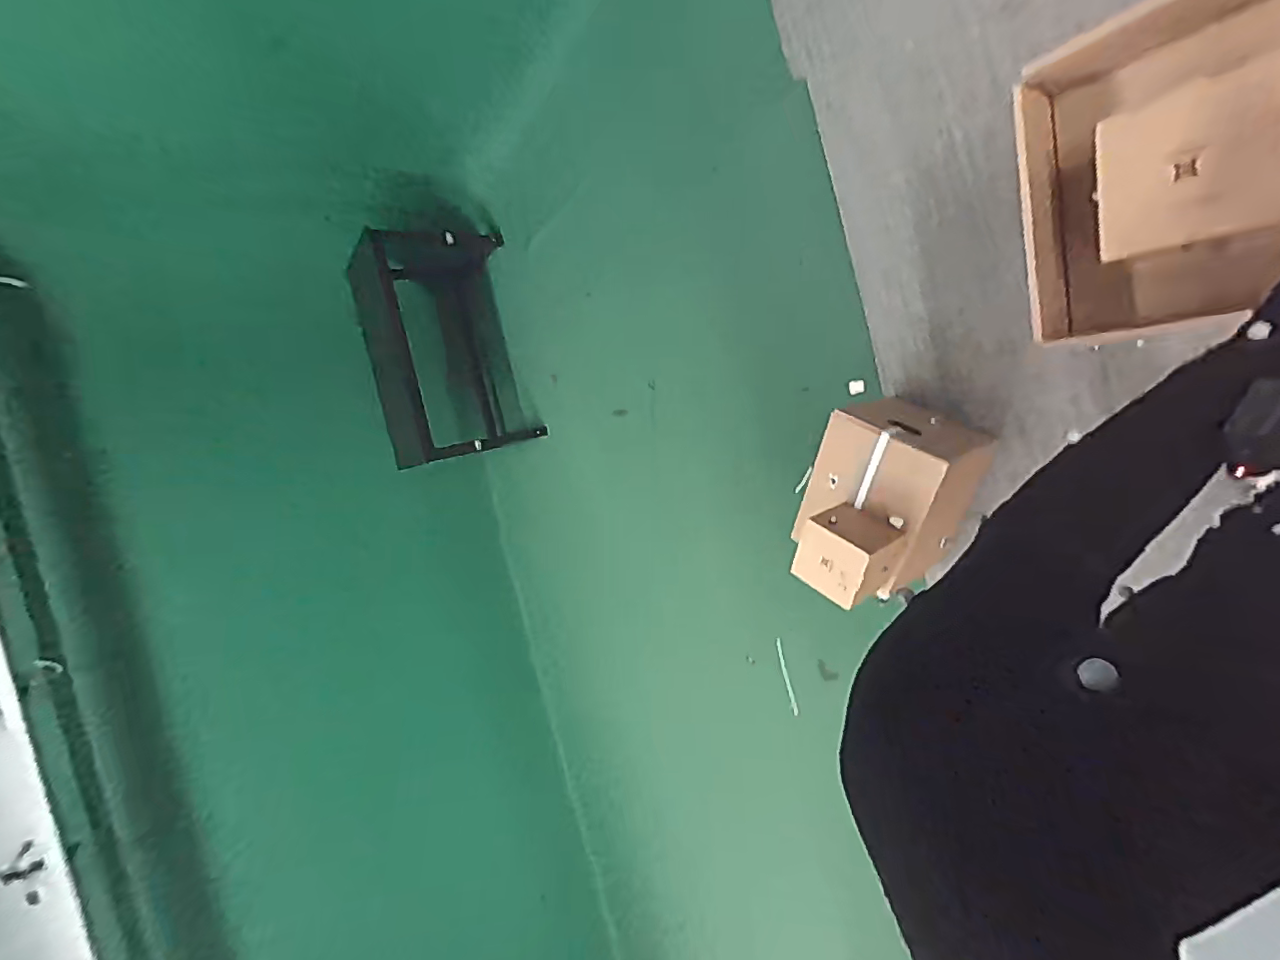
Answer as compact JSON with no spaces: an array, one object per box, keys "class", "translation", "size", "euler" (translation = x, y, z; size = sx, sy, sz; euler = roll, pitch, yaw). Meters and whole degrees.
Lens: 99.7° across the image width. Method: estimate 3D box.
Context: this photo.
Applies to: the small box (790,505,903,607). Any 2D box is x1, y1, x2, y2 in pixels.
[{"class":"small box","translation":[0.508,0.177,1.334],"size":[0.179,0.176,0.168],"euler":[34,128,39]}]
